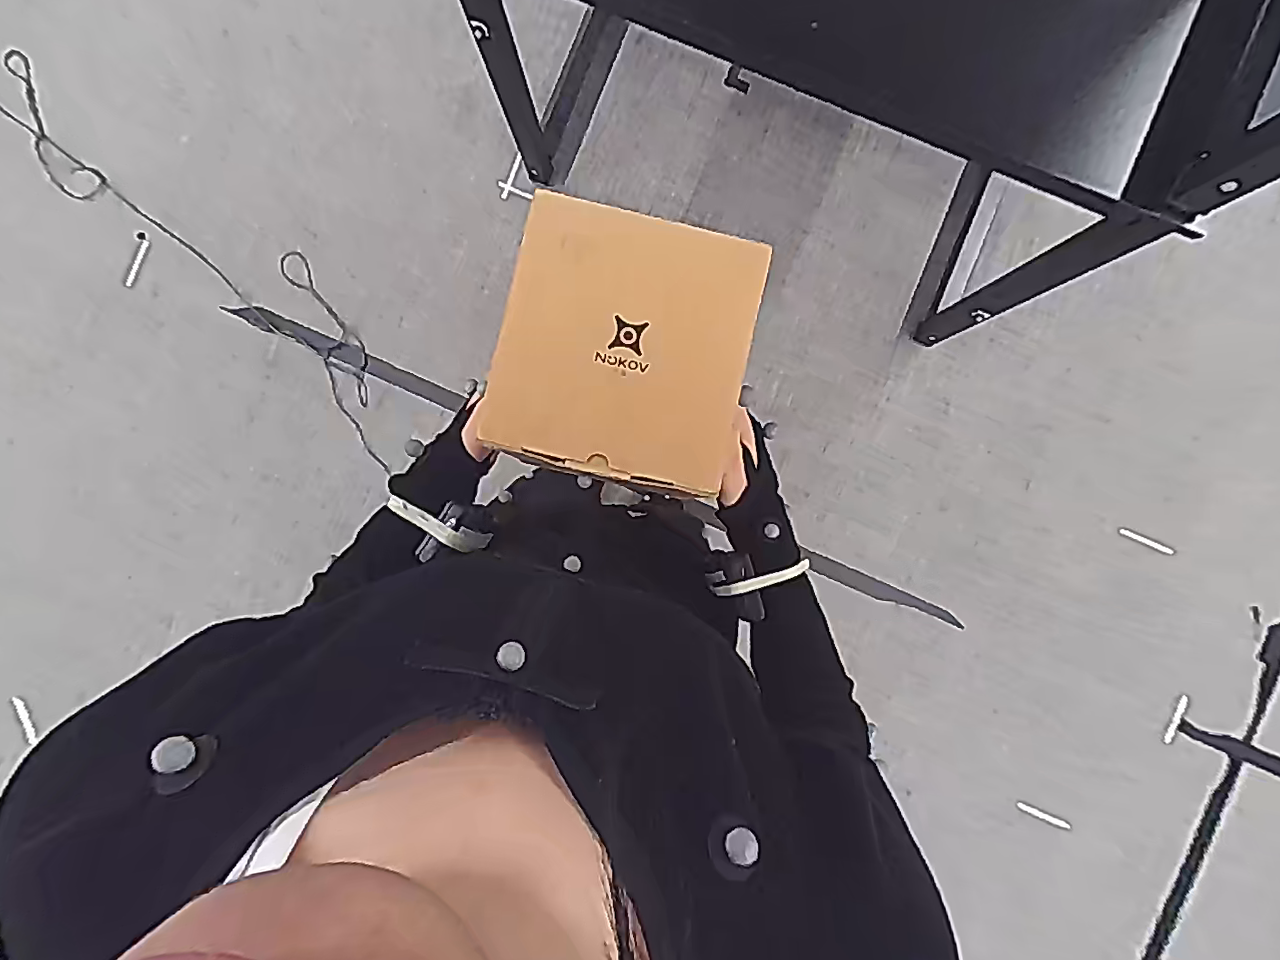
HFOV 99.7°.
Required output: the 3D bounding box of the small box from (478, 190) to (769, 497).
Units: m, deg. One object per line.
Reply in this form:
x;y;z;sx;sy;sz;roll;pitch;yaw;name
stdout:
-0.013;-0.089;0.439;0.168;0.176;0.179;13;89;-2;small box
